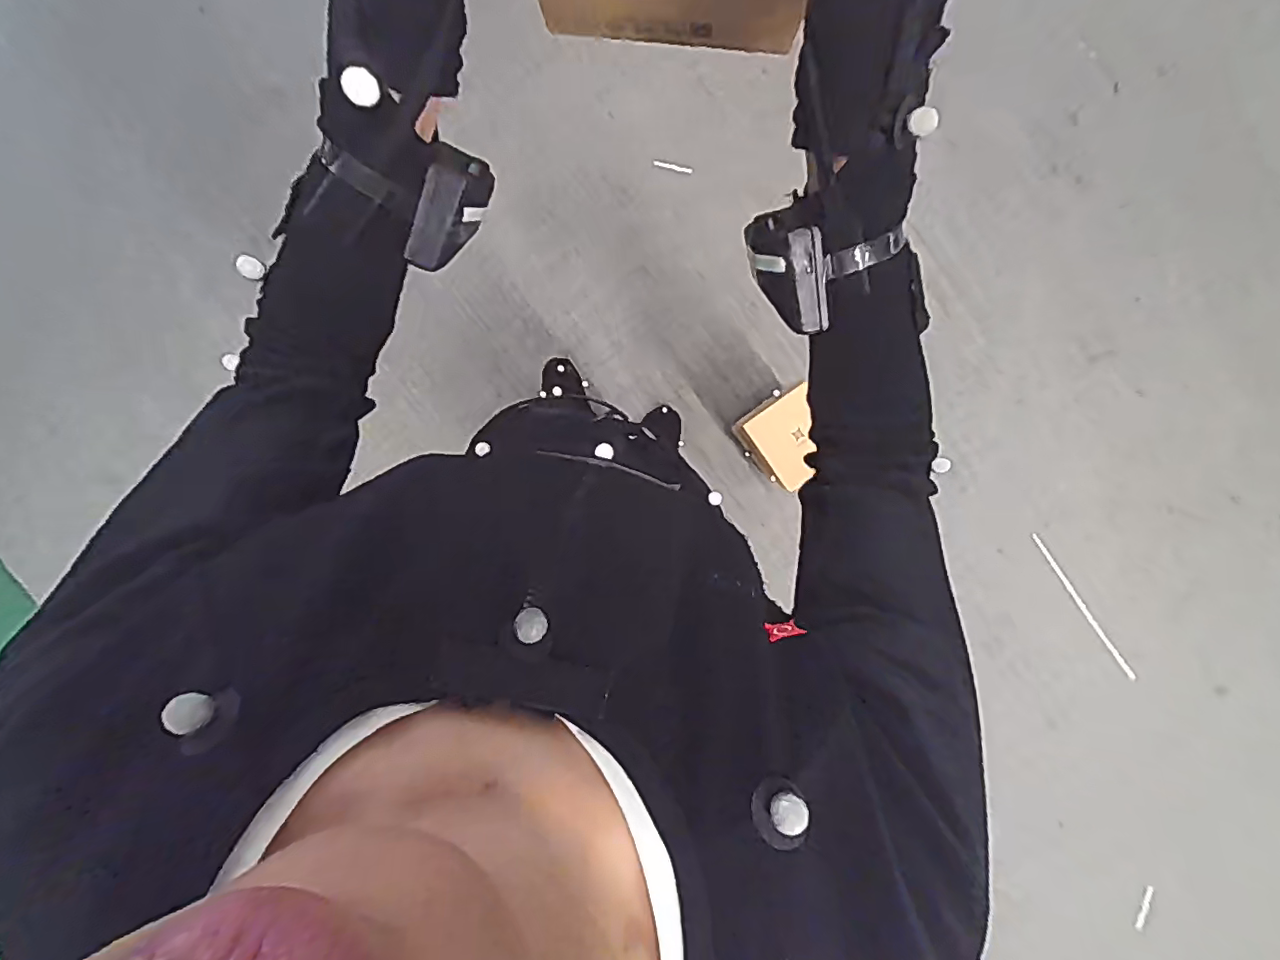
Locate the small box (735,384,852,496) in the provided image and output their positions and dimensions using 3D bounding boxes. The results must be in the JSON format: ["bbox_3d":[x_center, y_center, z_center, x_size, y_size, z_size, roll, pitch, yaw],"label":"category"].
[{"bbox_3d":[0.325,-0.088,1.189,0.168,0.176,0.179,-36,94,8],"label":"small box"}]
